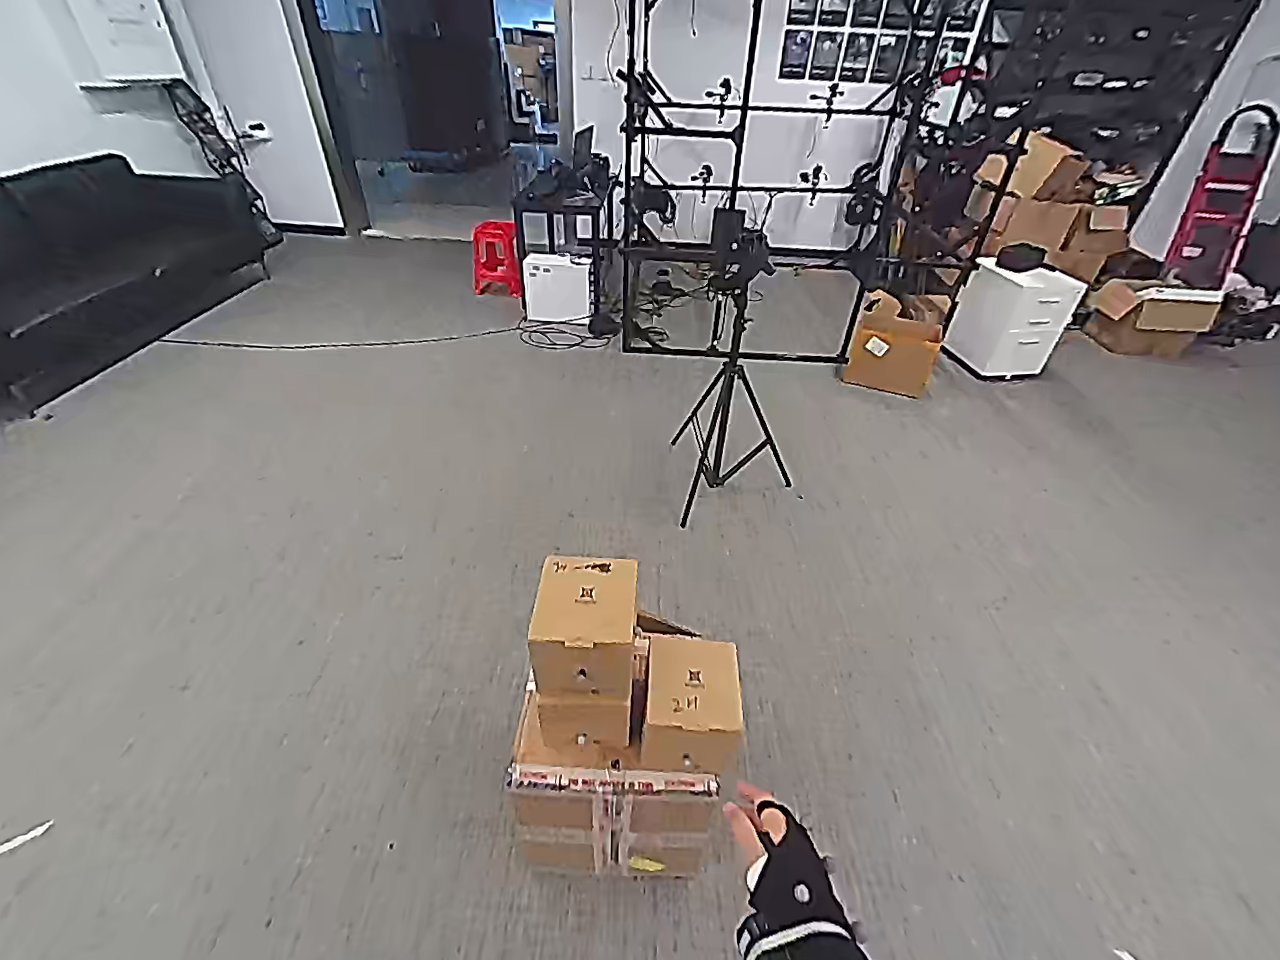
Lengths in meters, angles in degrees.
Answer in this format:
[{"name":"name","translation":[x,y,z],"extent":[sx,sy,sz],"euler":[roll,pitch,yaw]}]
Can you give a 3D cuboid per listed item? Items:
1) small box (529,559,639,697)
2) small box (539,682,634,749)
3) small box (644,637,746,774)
[{"name":"small box","translation":[-0.087,0.260,0.947],"extent":[0.168,0.176,0.179],"euler":[2,41,1]},{"name":"small box","translation":[-0.095,0.393,1.043],"extent":[0.168,0.176,0.179],"euler":[1,41,0]},{"name":"small box","translation":[0.095,0.423,1.018],"extent":[0.168,0.176,0.179],"euler":[4,40,0]}]
